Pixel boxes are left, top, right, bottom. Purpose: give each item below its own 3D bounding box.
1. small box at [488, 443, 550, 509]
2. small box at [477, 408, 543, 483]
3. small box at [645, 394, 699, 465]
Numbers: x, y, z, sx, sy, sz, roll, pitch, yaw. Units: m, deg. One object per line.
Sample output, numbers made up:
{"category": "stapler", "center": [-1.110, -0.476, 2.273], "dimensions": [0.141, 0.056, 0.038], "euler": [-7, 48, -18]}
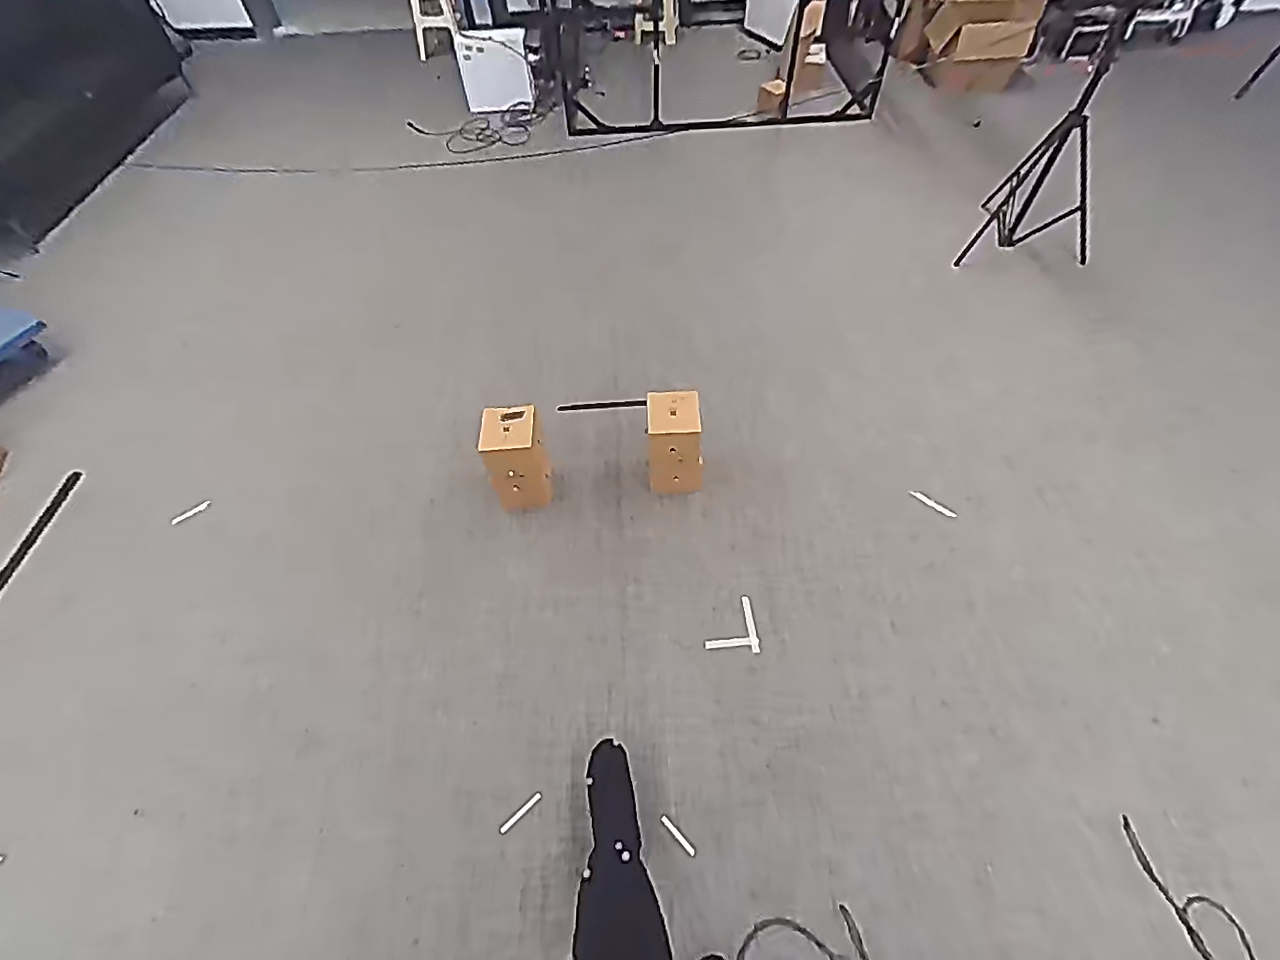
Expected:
{"category": "small box", "center": [-0.413, -0.012, 1.880], "dimensions": [0.179, 0.176, 0.168], "euler": [-5, 55, 0]}
{"category": "small box", "center": [-0.414, -0.109, 1.748], "dimensions": [0.168, 0.176, 0.179], "euler": [-4, 56, 0]}
{"category": "small box", "center": [0.102, -0.159, 1.762], "dimensions": [0.168, 0.176, 0.179], "euler": [-2, 55, 1]}
